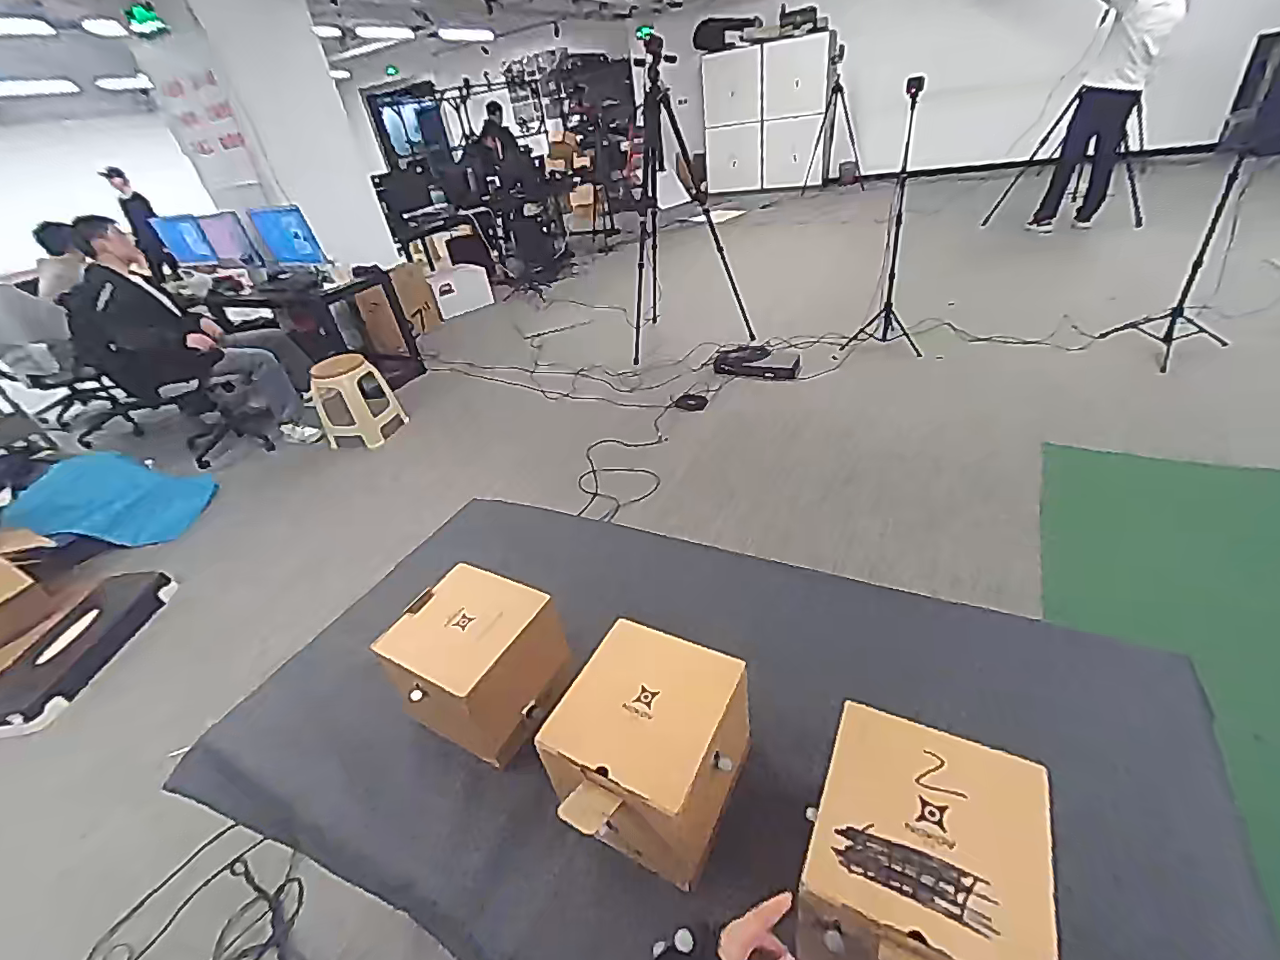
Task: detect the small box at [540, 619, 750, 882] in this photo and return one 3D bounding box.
[{"bbox_3d":[0.017,0.297,0.611,0.168,0.176,0.179,12,40,28],"label":"small box"}]

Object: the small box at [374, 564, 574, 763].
[{"bbox_3d":[-0.215,0.247,0.739,0.179,0.176,0.168,13,41,29],"label":"small box"}]
